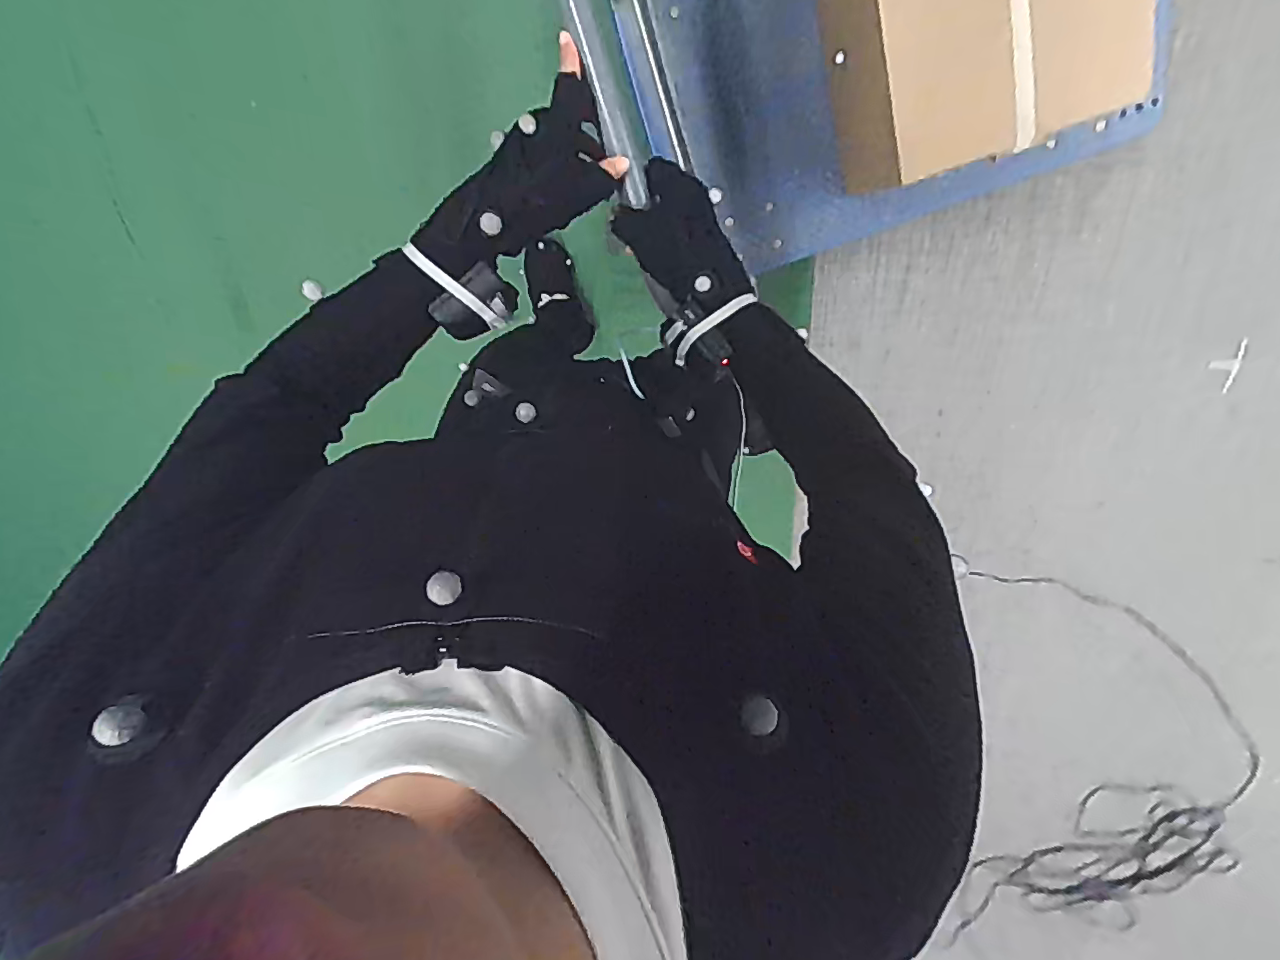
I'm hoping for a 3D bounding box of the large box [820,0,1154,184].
[{"bbox_3d":[0.467,-0.712,0.793,0.320,0.320,0.408,-16,112,12],"label":"large box"}]
